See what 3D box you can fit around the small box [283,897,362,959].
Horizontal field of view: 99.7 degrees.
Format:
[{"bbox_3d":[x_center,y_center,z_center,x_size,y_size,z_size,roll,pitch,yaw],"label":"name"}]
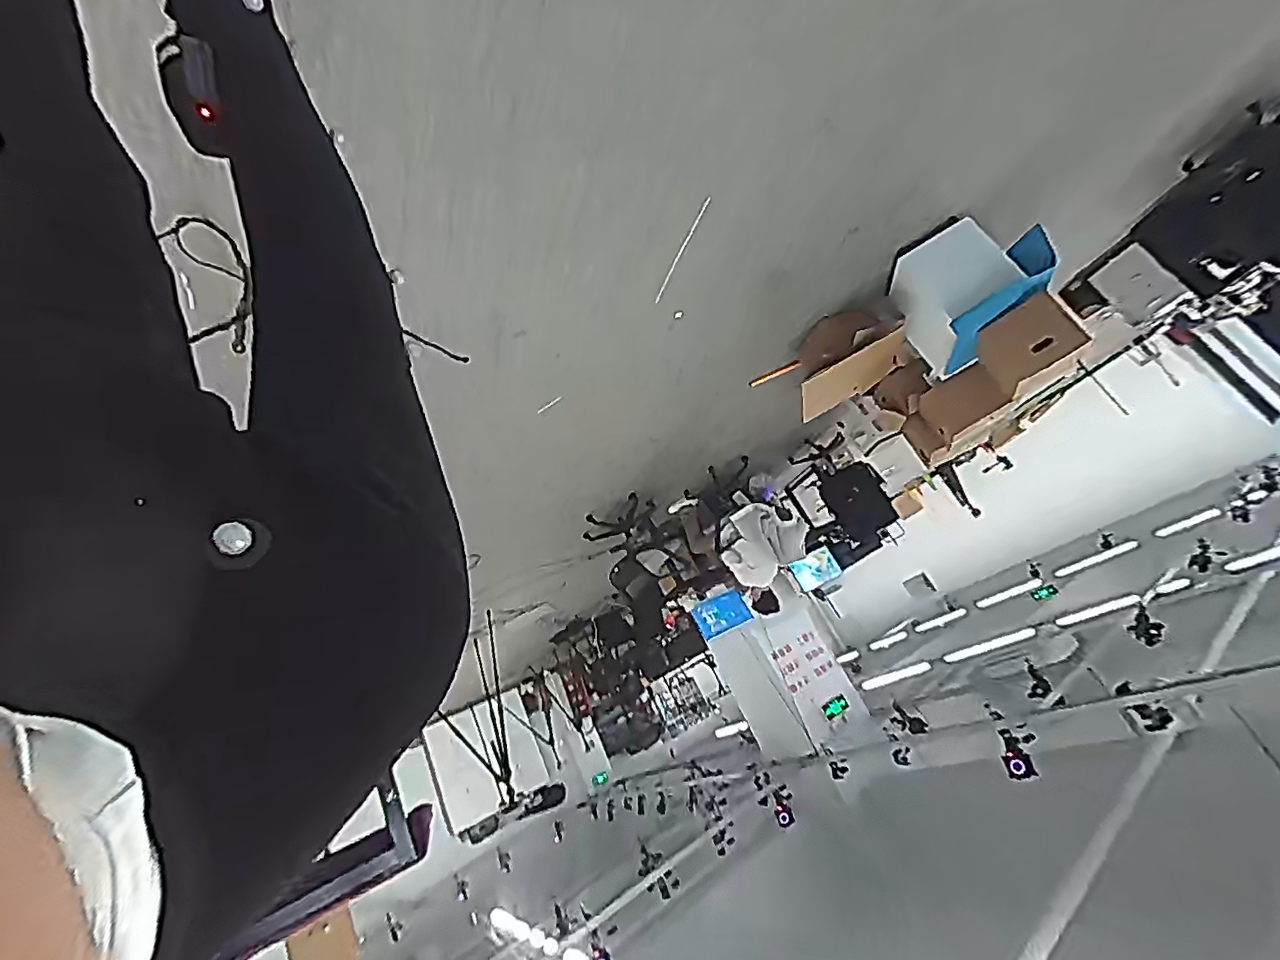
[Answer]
[{"bbox_3d":[-0.938,1.369,1.595,0.168,0.176,0.179,-14,157,-36],"label":"small box"}]
